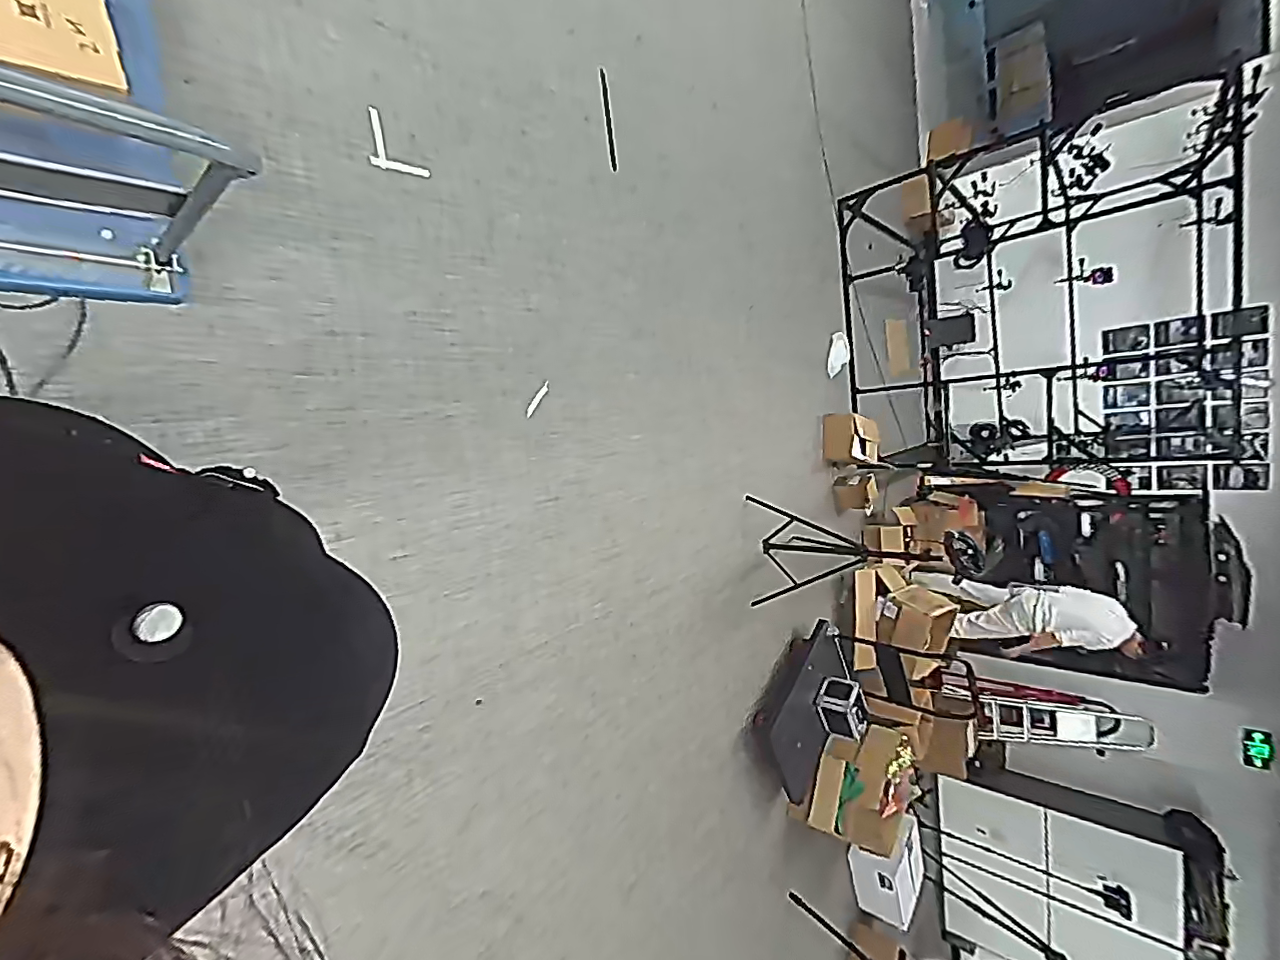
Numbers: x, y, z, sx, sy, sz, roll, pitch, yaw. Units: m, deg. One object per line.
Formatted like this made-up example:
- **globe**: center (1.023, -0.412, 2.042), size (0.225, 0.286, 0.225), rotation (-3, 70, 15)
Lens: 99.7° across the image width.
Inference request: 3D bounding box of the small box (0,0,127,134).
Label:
- **small box**: center (-0.974, -0.697, 0.875), size (0.179, 0.176, 0.168), rotation (-18, 102, -47)
